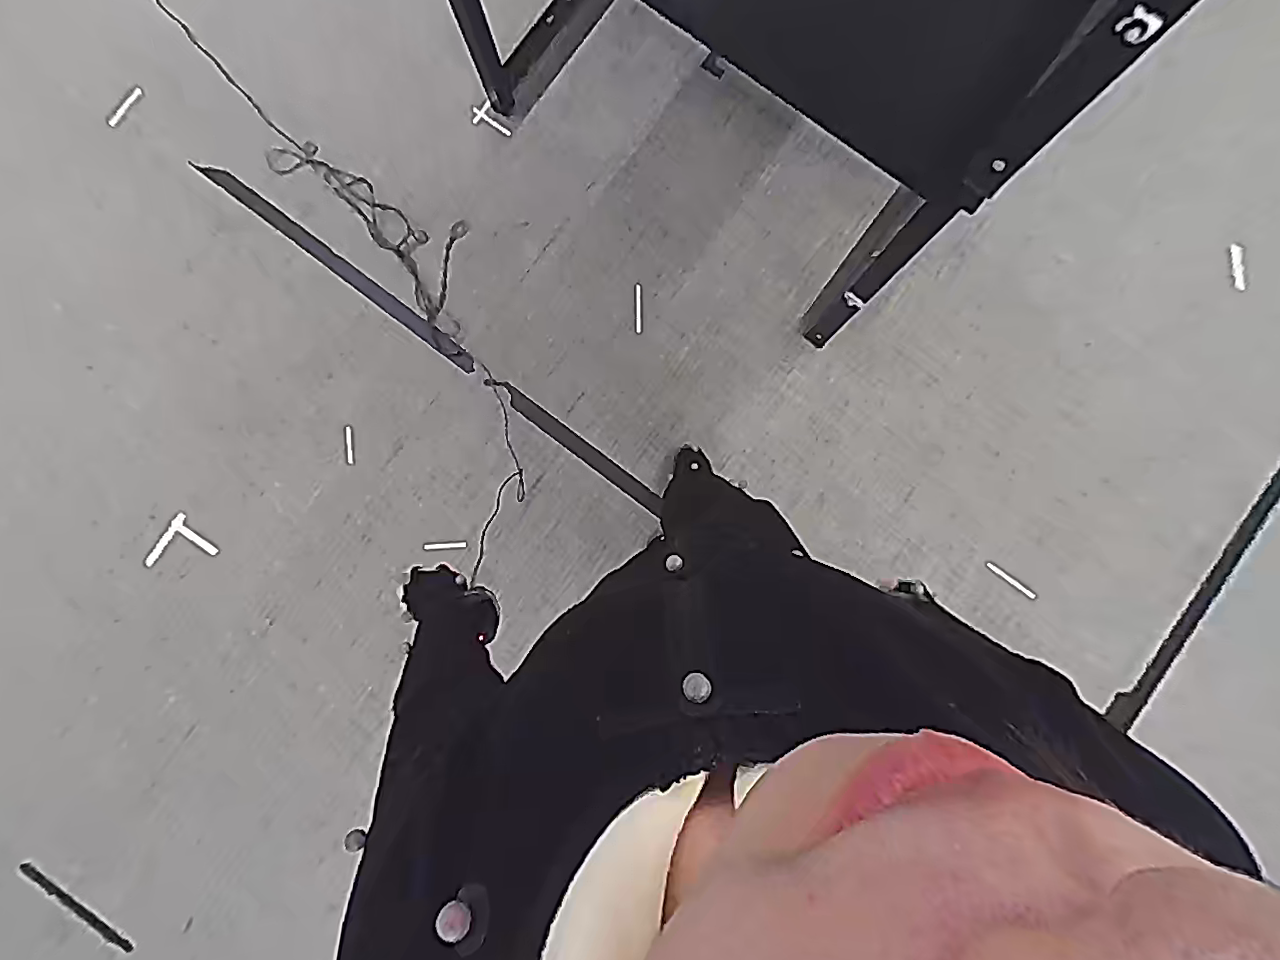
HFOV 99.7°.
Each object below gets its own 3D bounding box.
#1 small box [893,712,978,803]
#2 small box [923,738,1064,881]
[{"bbox_3d":[0.774,0.730,1.365,0.168,0.176,0.179,36,90,3],"label":"small box"},{"bbox_3d":[0.769,0.719,1.201,0.168,0.176,0.179,34,88,2],"label":"small box"}]
